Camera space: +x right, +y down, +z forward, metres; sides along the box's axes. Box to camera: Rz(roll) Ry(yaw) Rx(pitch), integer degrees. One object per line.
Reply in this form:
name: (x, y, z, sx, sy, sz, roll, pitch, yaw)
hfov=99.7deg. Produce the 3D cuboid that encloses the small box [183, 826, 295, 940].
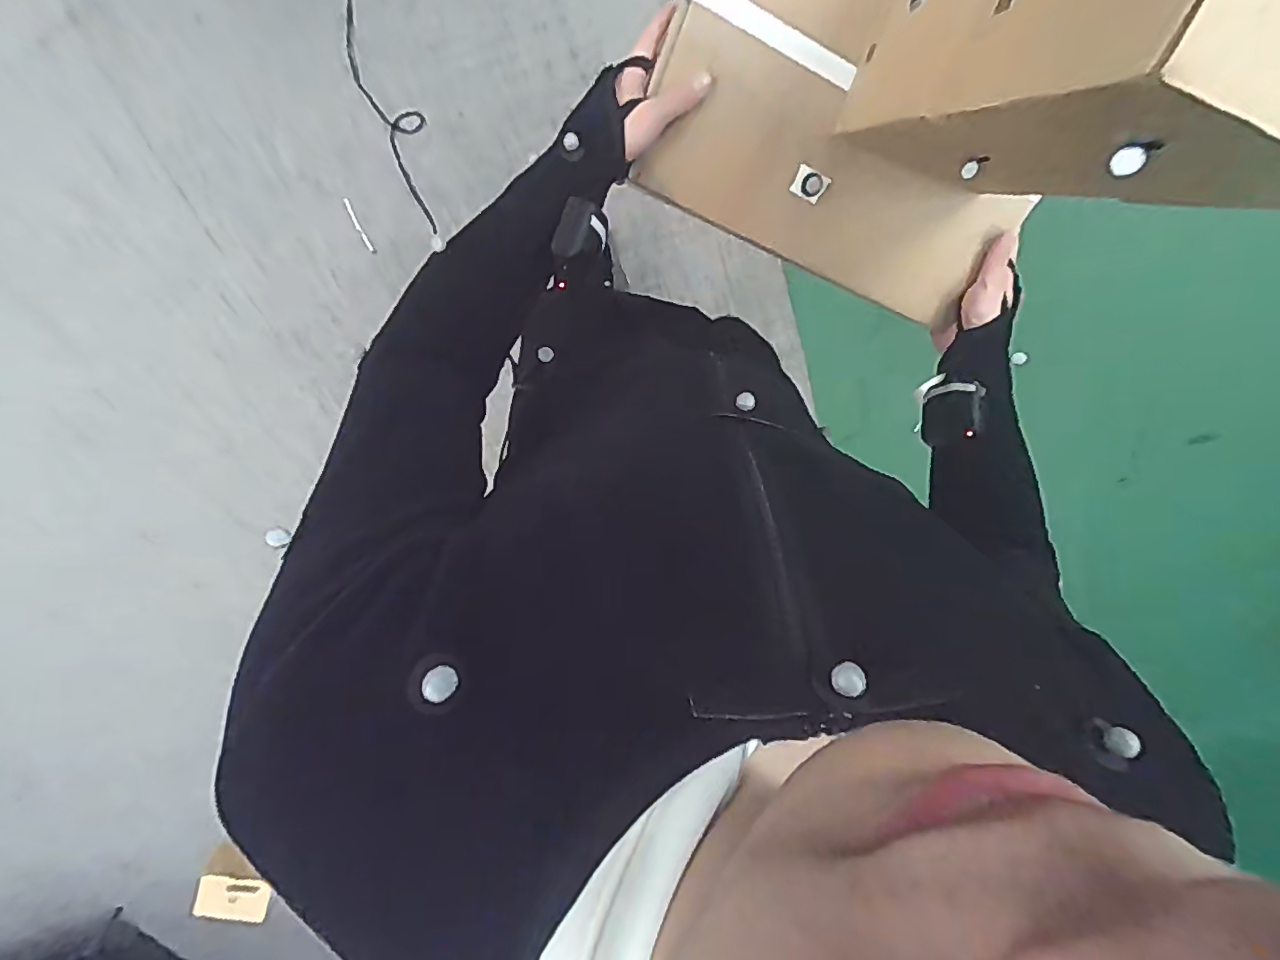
small box: (-1.032, 1.042, 1.406, 0.168, 0.176, 0.179, 21, 109, -15)

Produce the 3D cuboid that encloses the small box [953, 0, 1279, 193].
small box: (0.310, -0.258, 0.276, 0.179, 0.176, 0.168, 15, 116, -10)

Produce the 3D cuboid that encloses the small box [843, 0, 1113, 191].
small box: (0.291, -0.338, 0.418, 0.179, 0.176, 0.168, 14, 117, -11)
